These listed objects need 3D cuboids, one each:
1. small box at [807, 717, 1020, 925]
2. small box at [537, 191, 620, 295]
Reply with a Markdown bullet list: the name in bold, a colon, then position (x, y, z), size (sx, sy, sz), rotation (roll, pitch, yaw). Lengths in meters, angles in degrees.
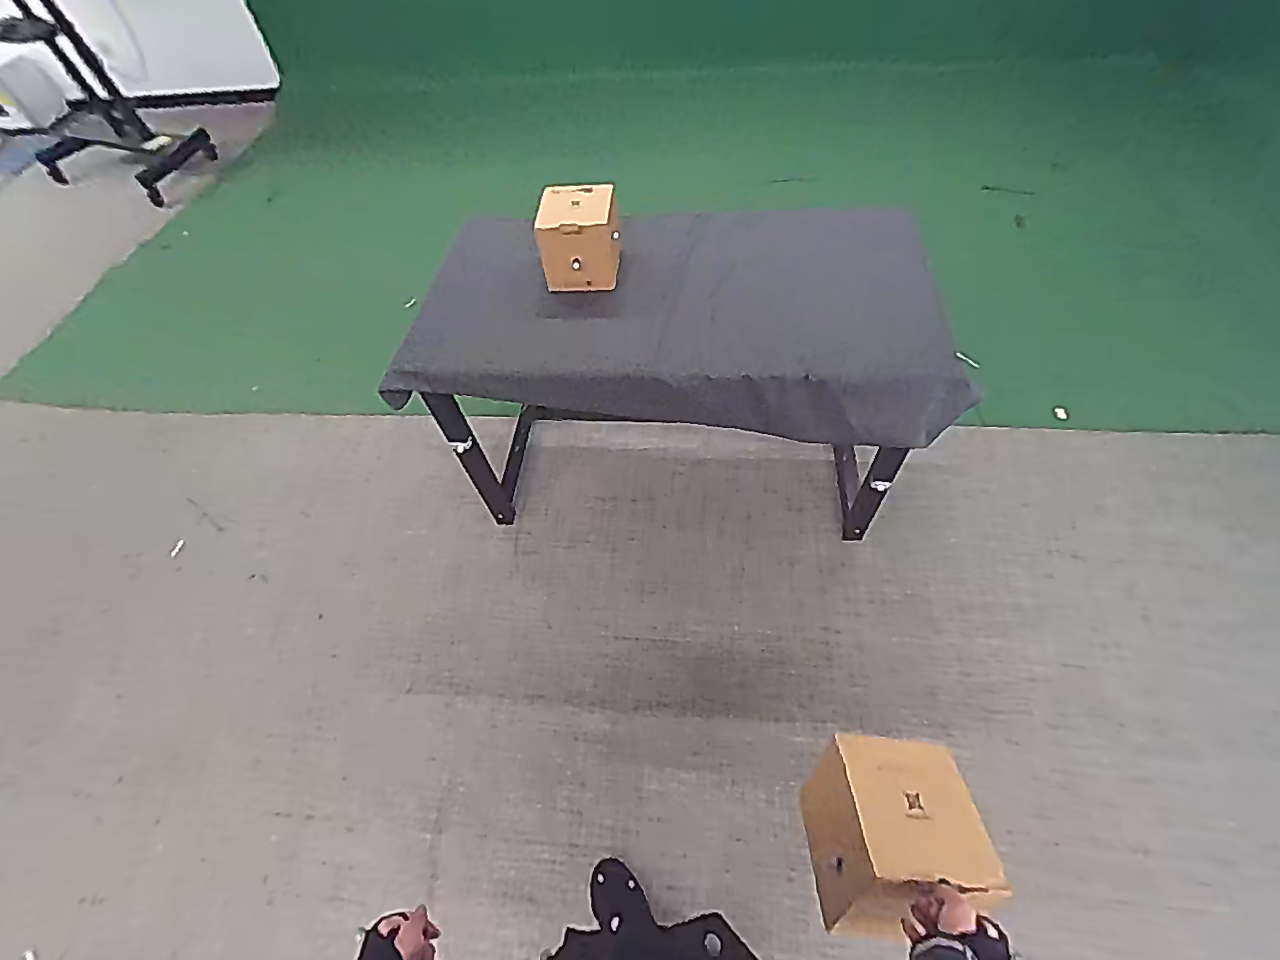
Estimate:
- **small box**: position (0.336, 0.447, 0.708), size (0.168, 0.176, 0.179), rotation (10, 36, -3)
- **small box**: position (-0.140, -0.565, 1.309), size (0.168, 0.176, 0.179), rotation (-3, 55, 4)
